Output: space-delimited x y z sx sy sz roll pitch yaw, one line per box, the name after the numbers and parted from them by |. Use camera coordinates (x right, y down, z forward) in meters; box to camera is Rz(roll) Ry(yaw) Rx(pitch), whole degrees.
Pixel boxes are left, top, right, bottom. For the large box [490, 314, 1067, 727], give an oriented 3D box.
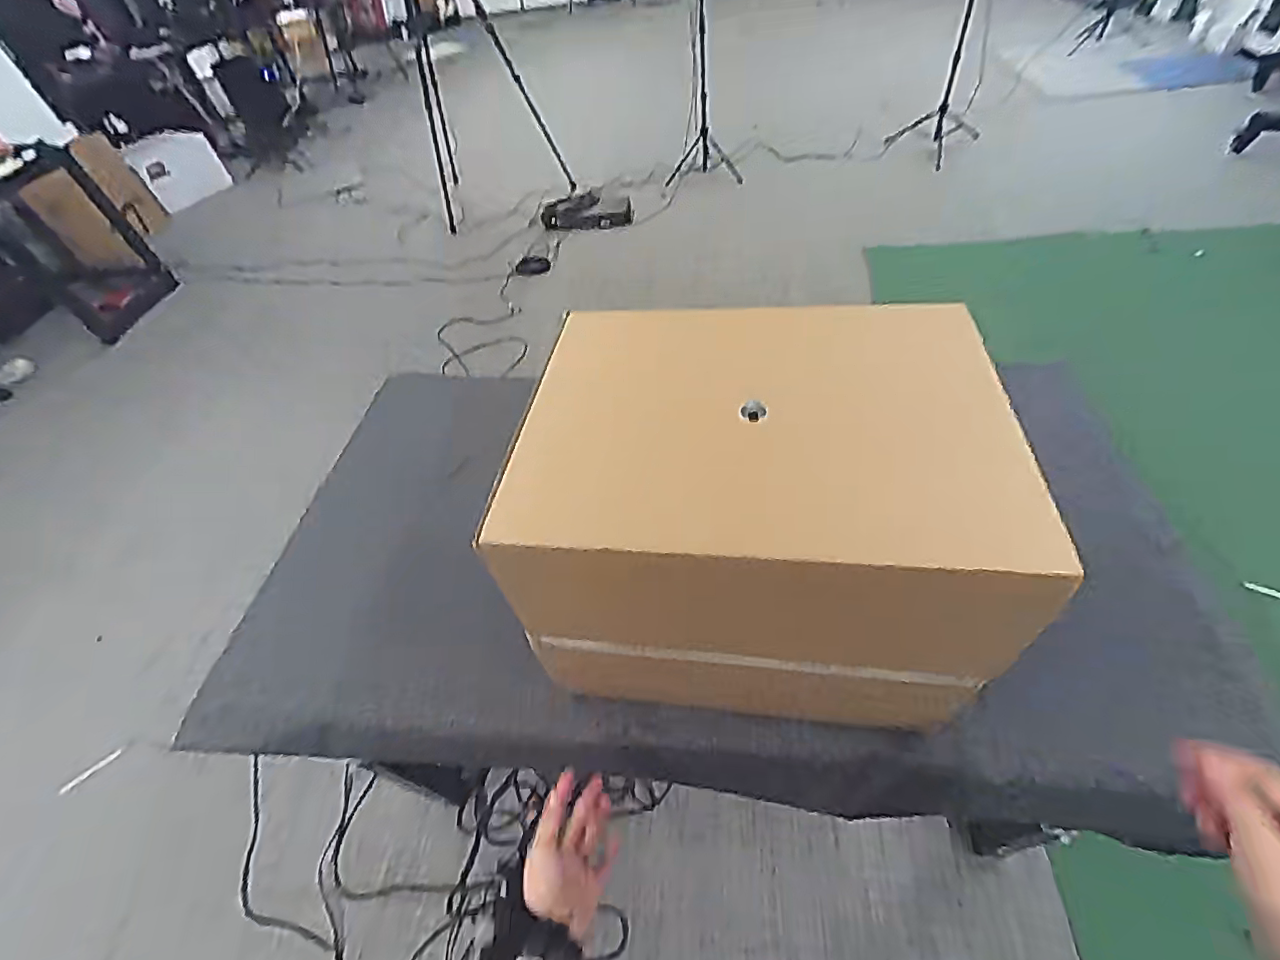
0.113 0.044 0.578 0.408 0.320 0.320 1 49 9 | large box
